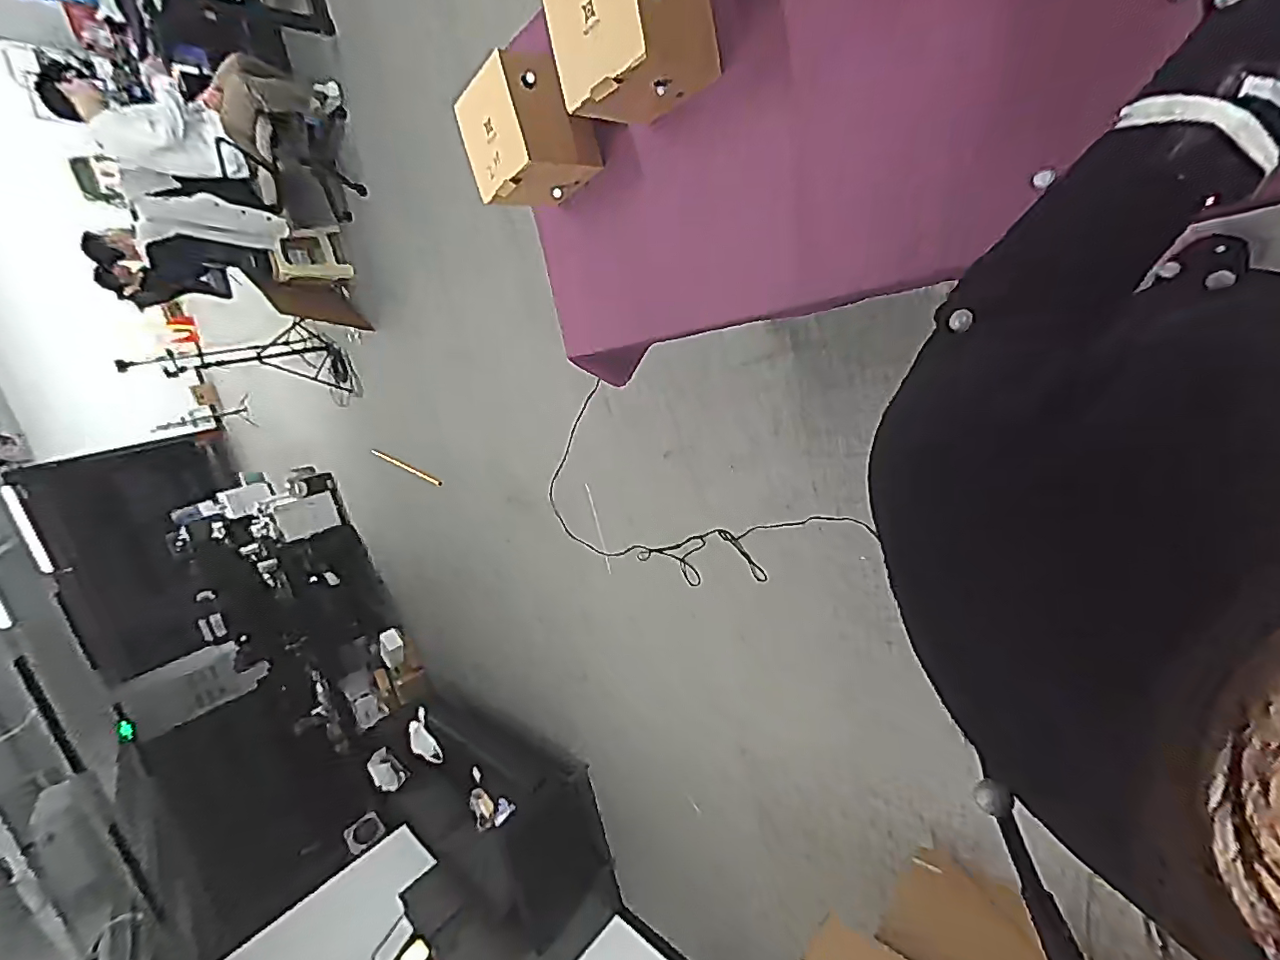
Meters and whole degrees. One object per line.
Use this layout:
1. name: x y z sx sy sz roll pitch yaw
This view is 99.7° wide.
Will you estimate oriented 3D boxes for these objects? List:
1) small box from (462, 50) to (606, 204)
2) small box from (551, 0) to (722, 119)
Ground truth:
1. small box: -0.189 -0.624 0.982 0.168 0.176 0.179 -5 105 48
2. small box: -0.001 -0.644 0.773 0.168 0.176 0.179 3 110 45
